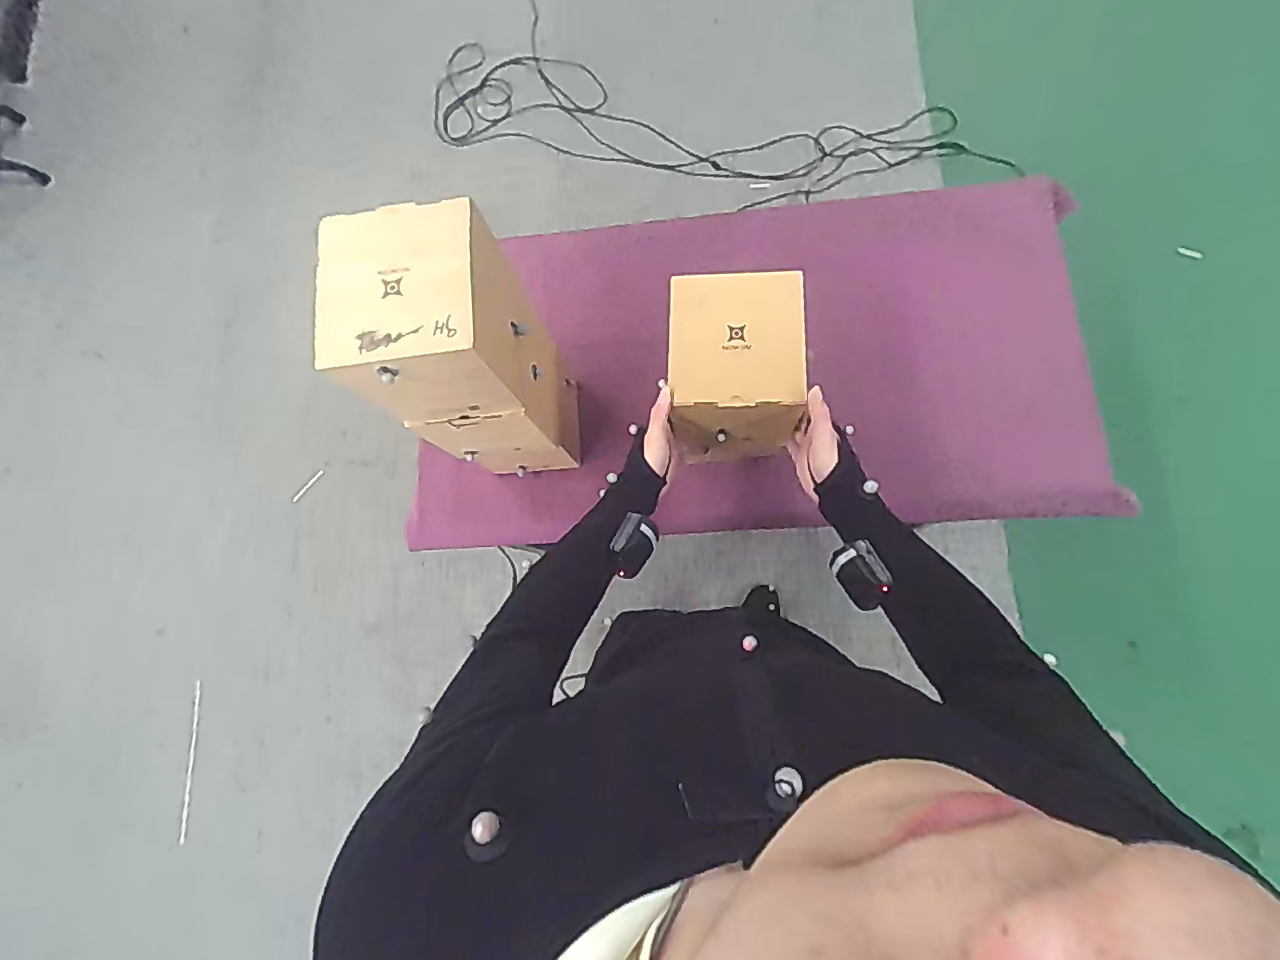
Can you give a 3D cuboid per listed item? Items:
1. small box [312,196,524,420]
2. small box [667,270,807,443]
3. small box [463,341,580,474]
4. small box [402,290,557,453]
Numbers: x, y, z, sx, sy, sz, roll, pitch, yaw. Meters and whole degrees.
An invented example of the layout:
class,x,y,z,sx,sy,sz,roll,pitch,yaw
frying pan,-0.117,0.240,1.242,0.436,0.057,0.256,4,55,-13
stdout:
class,x,y,z,sx,sy,sz,roll,pitch,yaw
small box,-0.239,-0.184,0.621,0.168,0.176,0.179,-6,77,6
small box,0.125,-0.157,0.729,0.168,0.176,0.179,0,79,7
small box,-0.203,-0.118,0.940,0.168,0.176,0.179,-6,79,6
small box,-0.220,-0.143,0.779,0.168,0.176,0.179,-6,76,6
